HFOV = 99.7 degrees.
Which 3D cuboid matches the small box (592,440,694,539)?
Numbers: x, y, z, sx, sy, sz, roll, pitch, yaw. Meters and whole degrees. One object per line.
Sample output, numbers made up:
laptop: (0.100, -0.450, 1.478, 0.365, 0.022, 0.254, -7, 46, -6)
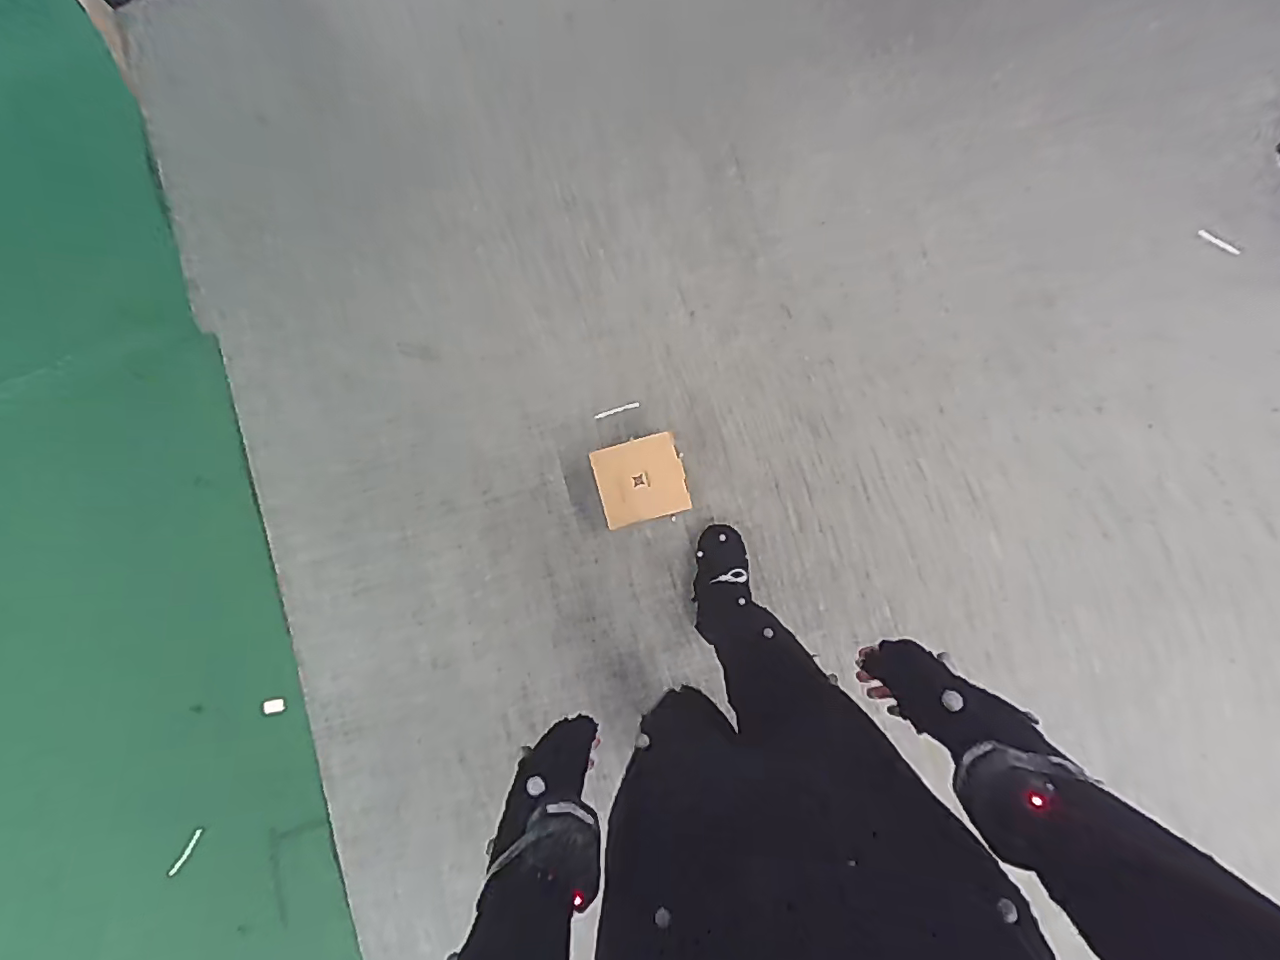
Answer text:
small box: (0.010, 0.025, 1.172, 0.179, 0.176, 0.168, -17, 84, 3)
